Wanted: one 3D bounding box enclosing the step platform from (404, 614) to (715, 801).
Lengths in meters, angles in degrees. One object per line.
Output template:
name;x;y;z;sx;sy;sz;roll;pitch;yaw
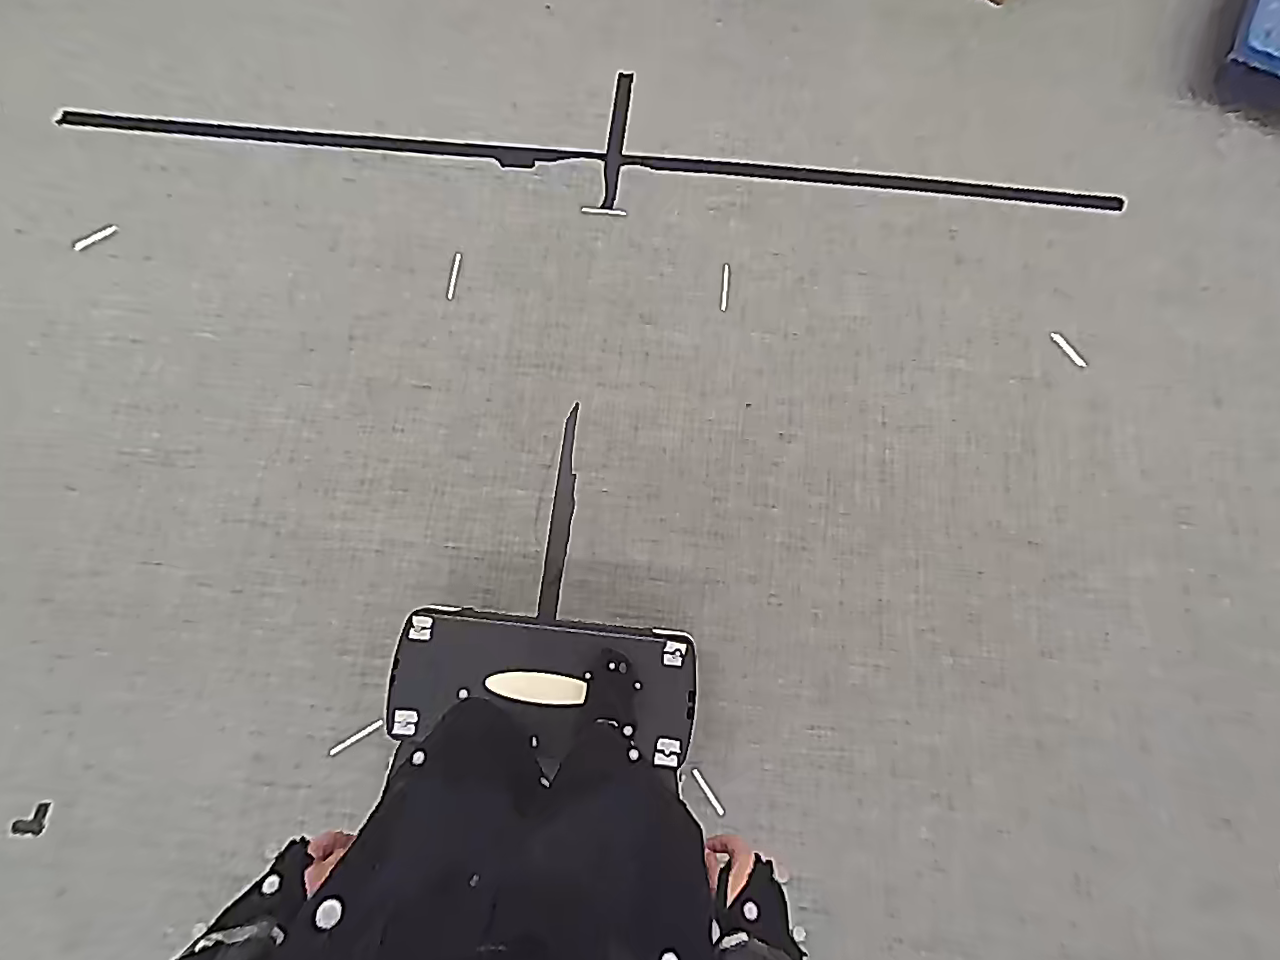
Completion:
step platform;-0.172;0.509;1.245;0.684;0.204;0.286;10;76;1
